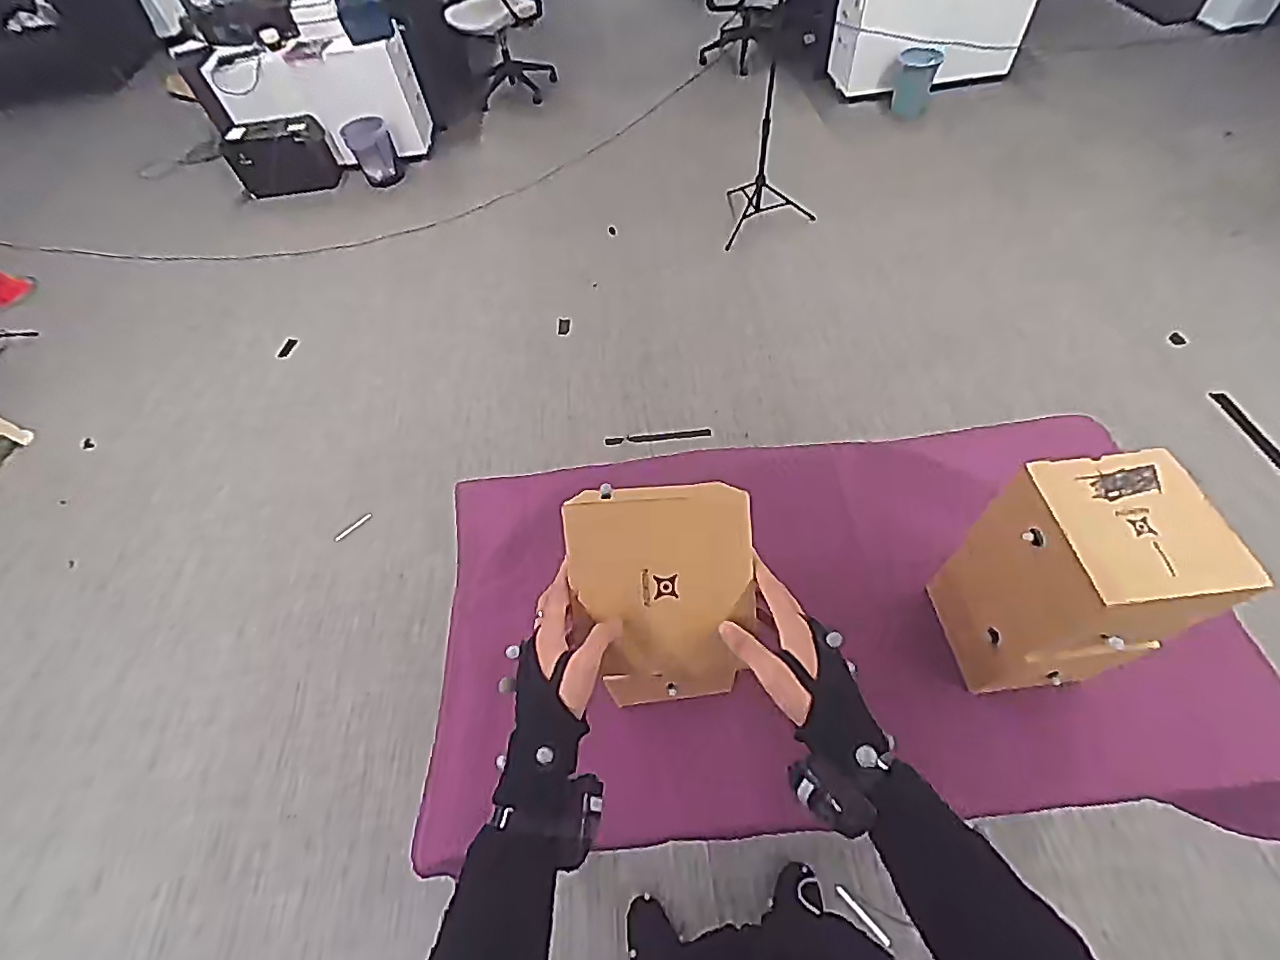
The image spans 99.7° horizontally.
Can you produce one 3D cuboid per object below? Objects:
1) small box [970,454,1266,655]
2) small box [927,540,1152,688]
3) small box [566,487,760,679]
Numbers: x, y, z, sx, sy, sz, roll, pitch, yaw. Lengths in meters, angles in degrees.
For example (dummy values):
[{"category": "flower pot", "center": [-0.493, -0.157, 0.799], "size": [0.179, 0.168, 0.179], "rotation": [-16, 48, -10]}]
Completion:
[{"category": "small box", "center": [0.536, 0.093, 0.647], "size": [0.168, 0.176, 0.179], "rotation": [-7, 56, 2]}, {"category": "small box", "center": [0.550, 0.192, 0.777], "size": [0.168, 0.176, 0.179], "rotation": [-7, 56, 1]}, {"category": "small box", "center": [0.023, 0.098, 0.584], "size": [0.179, 0.176, 0.168], "rotation": [-4, 92, 2]}]
